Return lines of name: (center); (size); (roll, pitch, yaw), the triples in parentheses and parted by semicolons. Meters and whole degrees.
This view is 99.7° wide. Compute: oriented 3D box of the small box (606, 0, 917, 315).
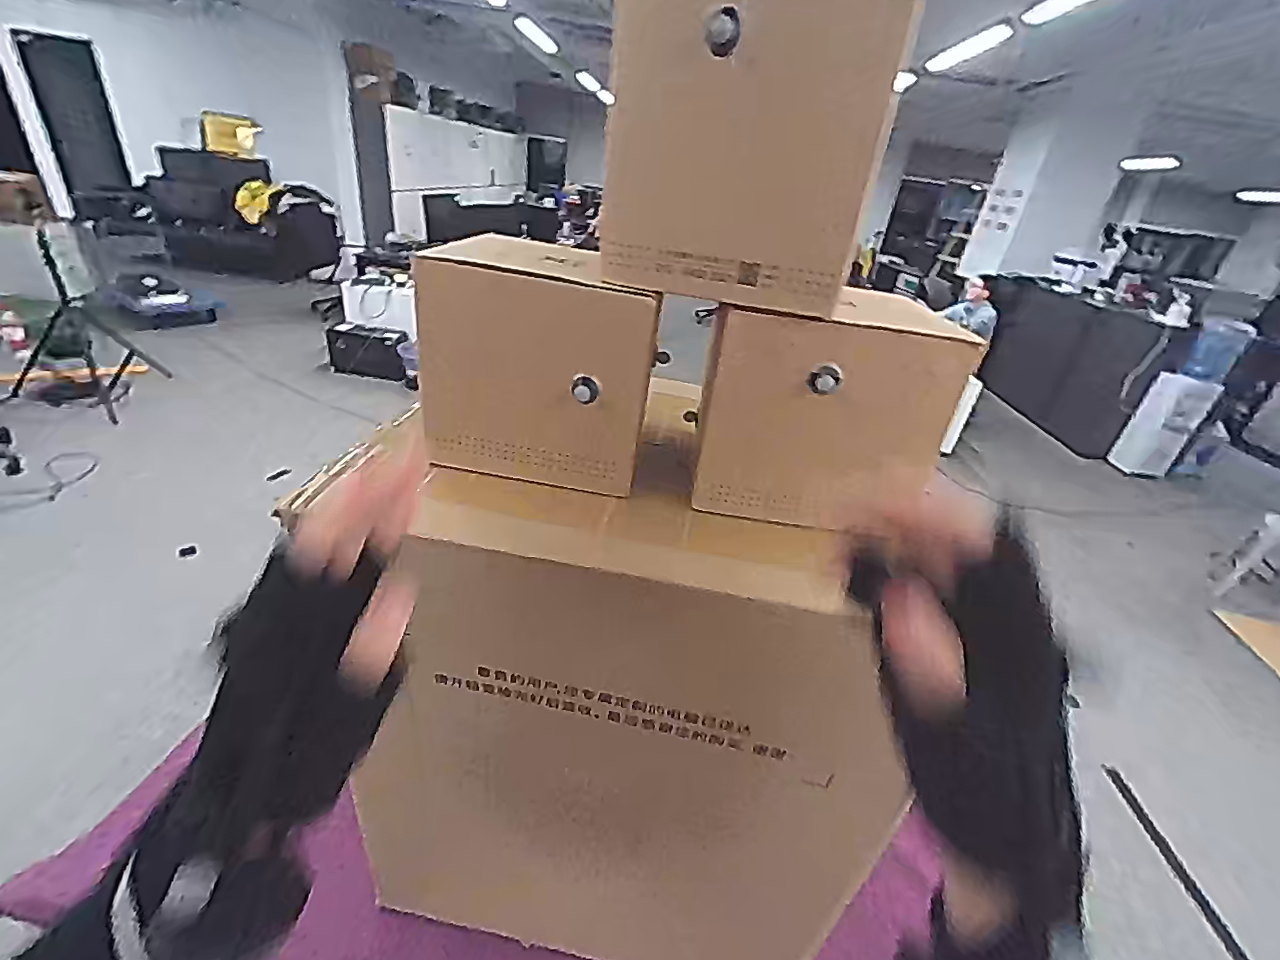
small box: (0.078, -0.232, 0.403); (0.168, 0.176, 0.179); (12, 28, 10)

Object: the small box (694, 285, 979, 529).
small box: (0.144, -0.075, 0.474); (0.179, 0.176, 0.168); (9, 29, 1)

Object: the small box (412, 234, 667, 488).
small box: (-0.077, -0.109, 0.480); (0.179, 0.176, 0.168); (9, 28, 1)
